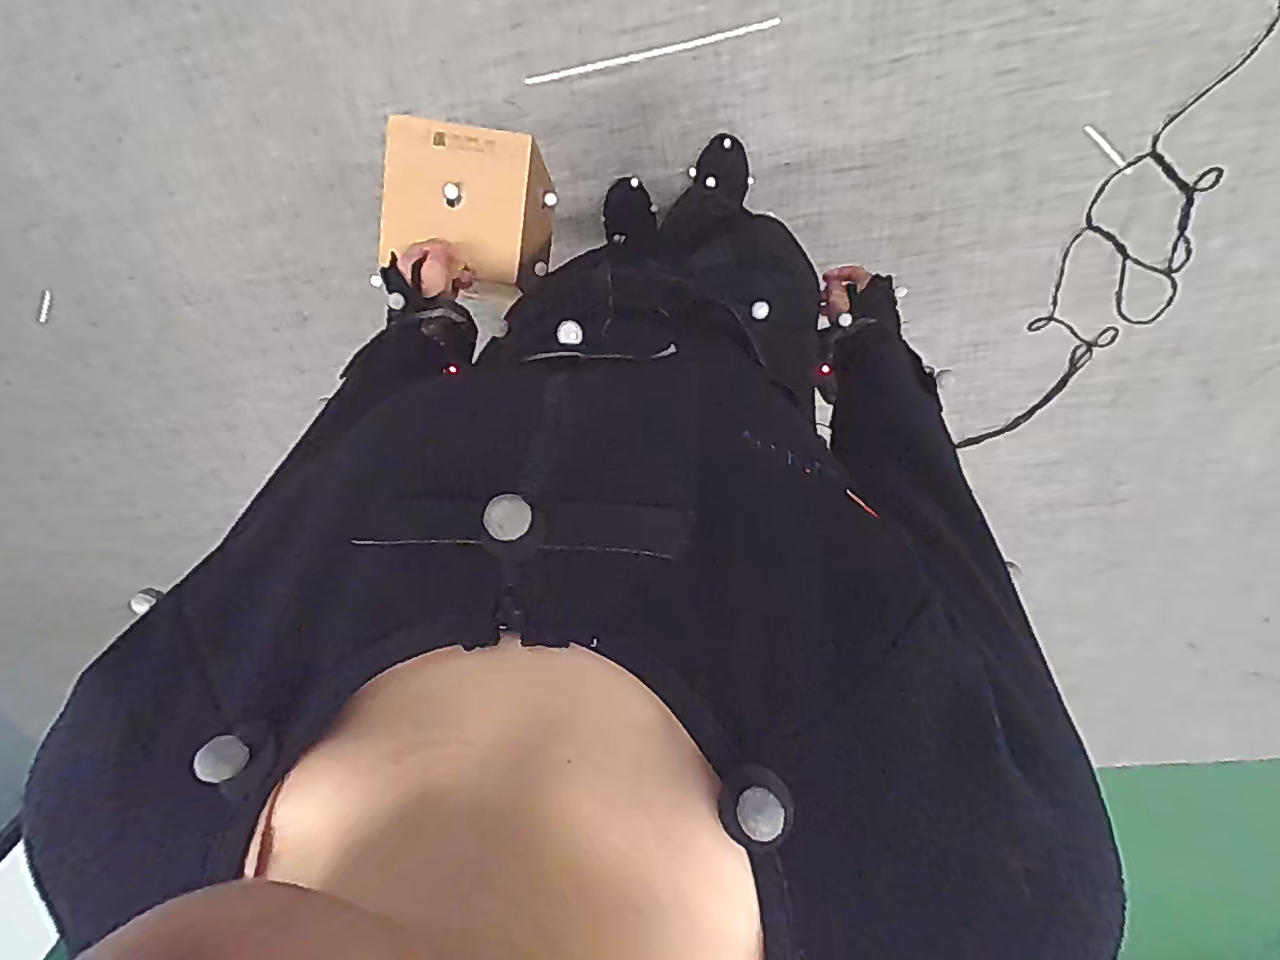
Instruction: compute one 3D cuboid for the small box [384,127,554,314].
[{"bbox_3d":[-0.212,-0.327,0.707,0.168,0.179,0.176,8,97,-1],"label":"small box"}]
